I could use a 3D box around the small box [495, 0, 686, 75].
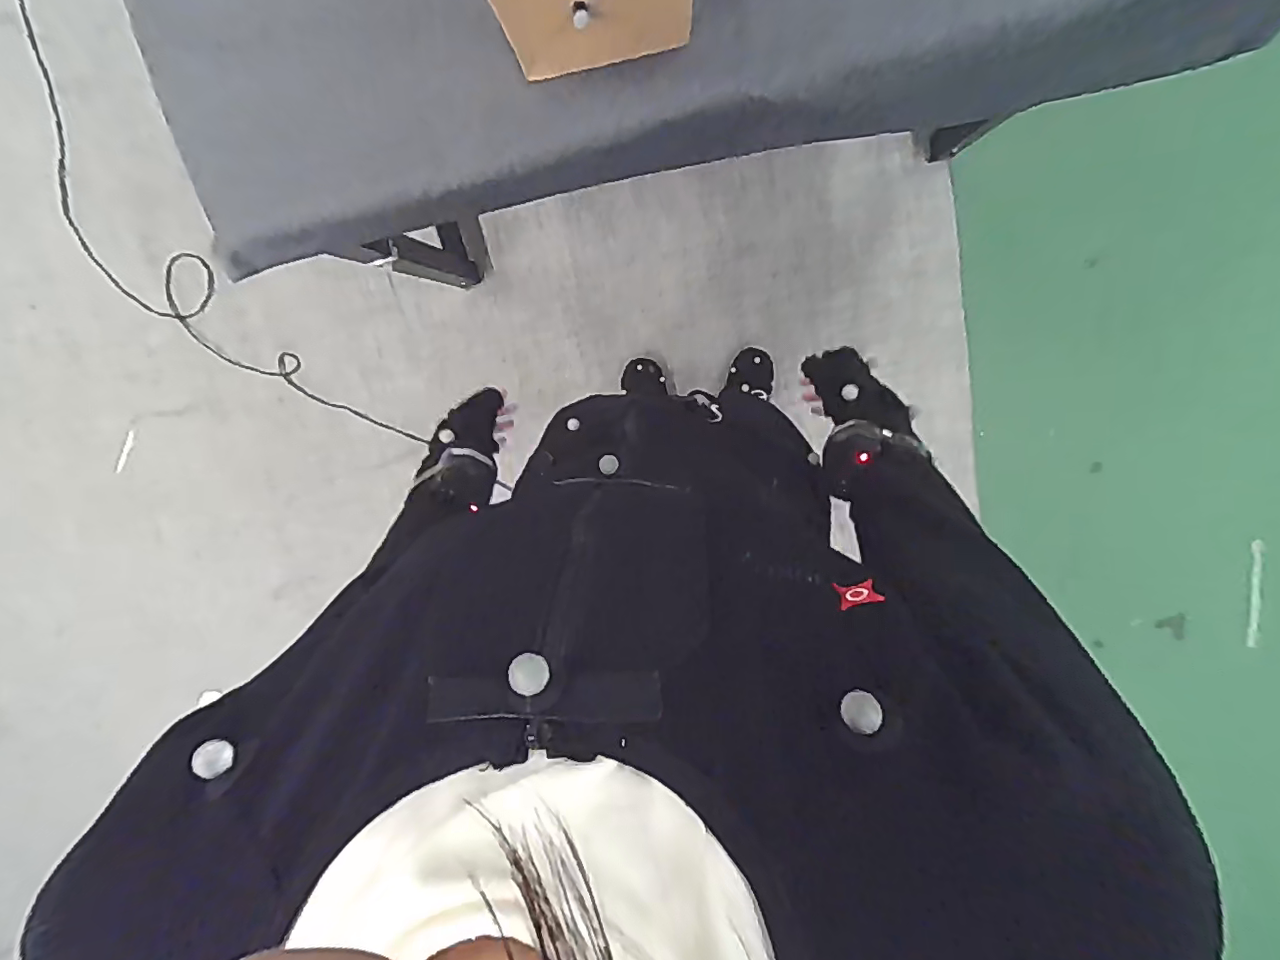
[{"bbox_3d":[-0.053,-0.500,0.479,0.179,0.176,0.168,-9,103,5],"label":"small box"}]
